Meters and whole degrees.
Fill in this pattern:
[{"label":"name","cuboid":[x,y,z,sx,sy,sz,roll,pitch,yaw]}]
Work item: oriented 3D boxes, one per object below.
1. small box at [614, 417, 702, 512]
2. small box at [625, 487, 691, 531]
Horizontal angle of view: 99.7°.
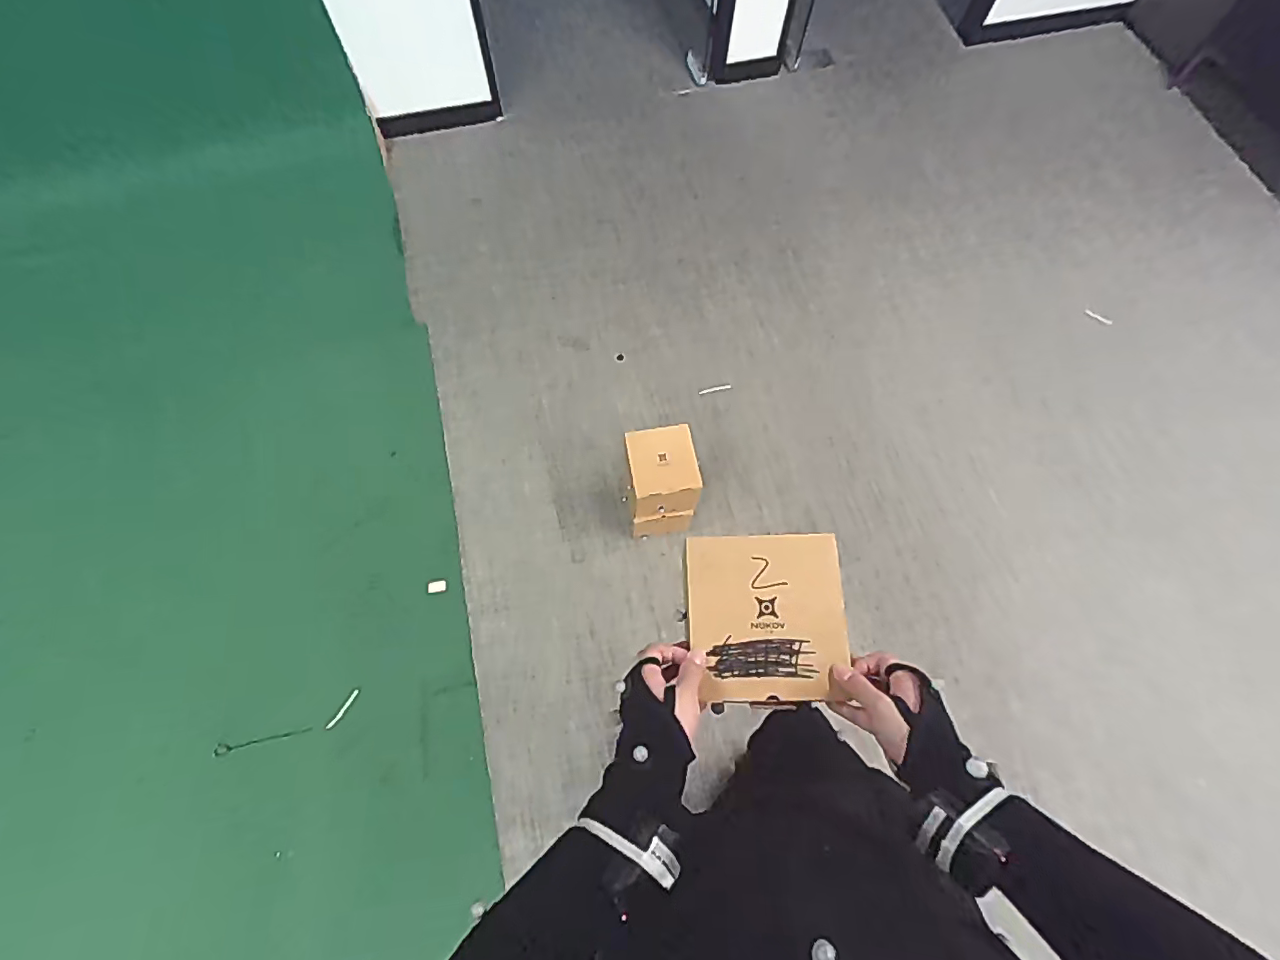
[{"label":"small box","cuboid":[0.045,-0.032,1.403,0.179,0.176,0.168,21,72,7]},{"label":"small box","cuboid":[0.044,0.040,1.541,0.168,0.176,0.179,-8,69,-5]}]
